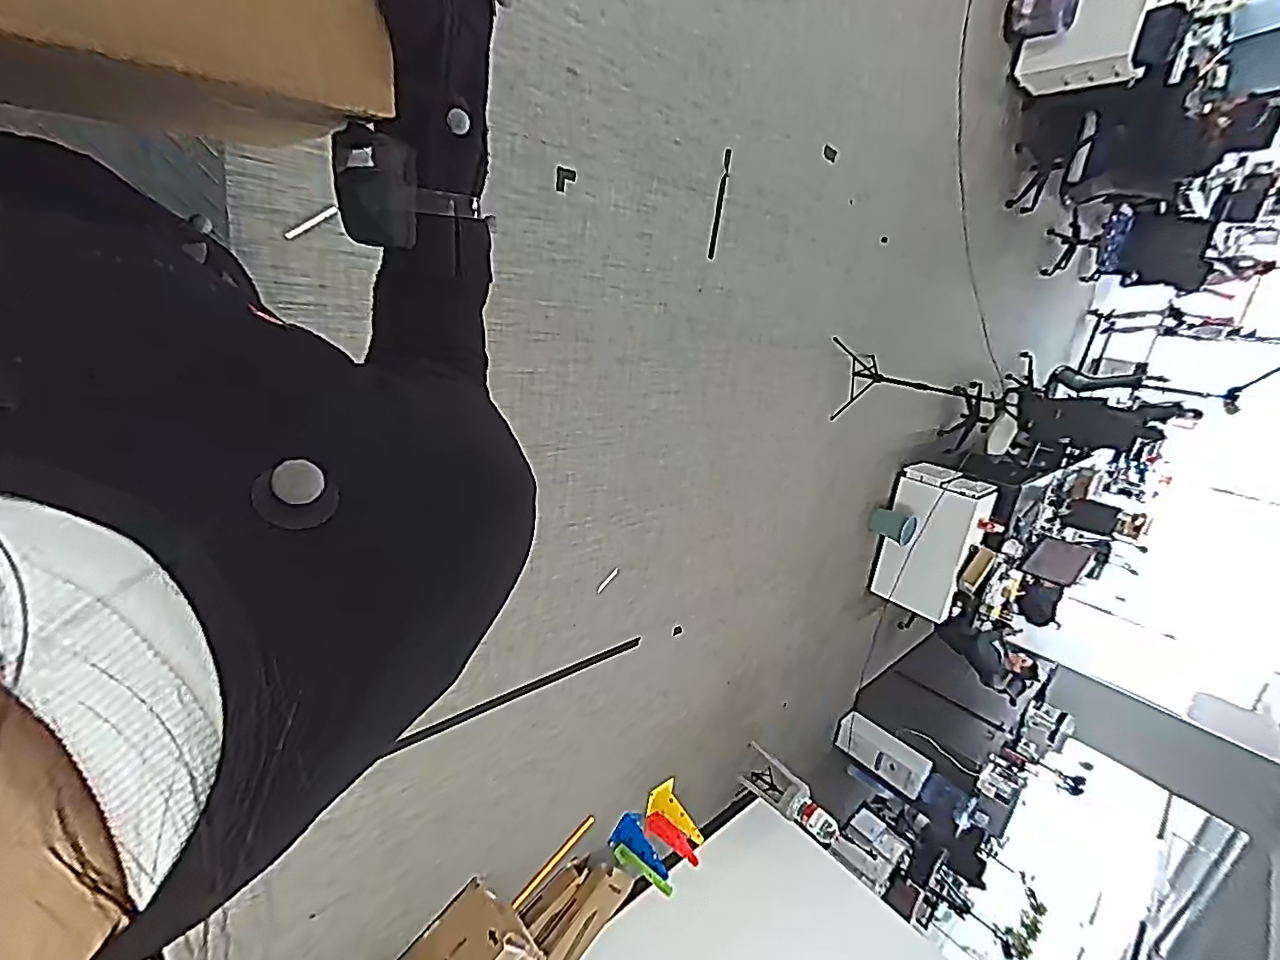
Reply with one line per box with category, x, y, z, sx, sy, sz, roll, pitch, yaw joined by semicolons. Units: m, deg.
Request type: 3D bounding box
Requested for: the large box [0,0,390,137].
large box;-0.383;-0.371;0.234;0.408;0.320;0.320;-15;122;-40
